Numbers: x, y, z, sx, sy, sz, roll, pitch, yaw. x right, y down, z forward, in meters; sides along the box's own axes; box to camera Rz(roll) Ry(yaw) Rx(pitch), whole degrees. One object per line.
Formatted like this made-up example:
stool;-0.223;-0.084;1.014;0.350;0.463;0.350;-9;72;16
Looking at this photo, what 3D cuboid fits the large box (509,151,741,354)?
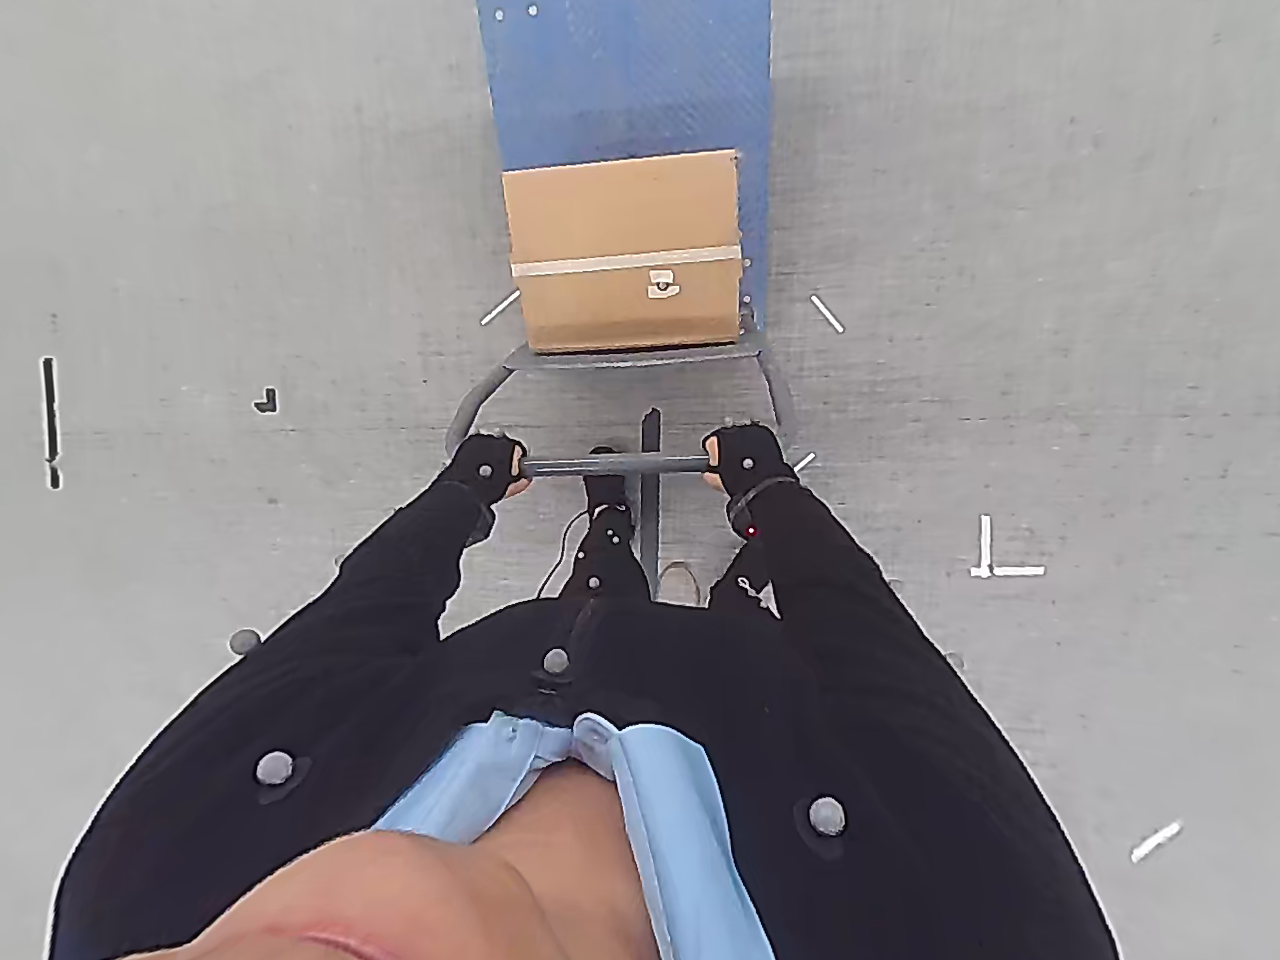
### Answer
large box;-0.012;-0.460;1.122;0.408;0.320;0.320;-3;114;5
